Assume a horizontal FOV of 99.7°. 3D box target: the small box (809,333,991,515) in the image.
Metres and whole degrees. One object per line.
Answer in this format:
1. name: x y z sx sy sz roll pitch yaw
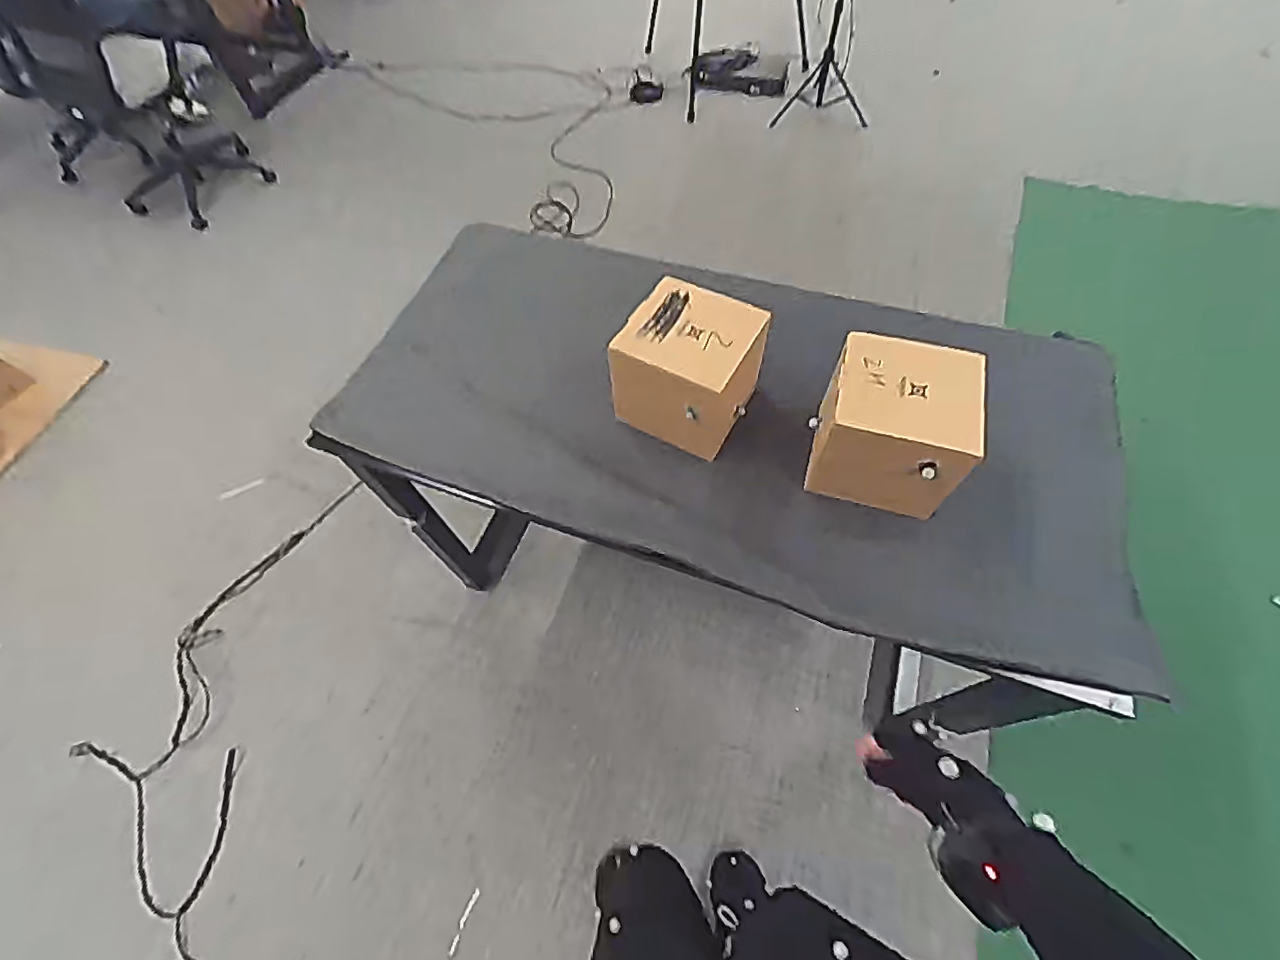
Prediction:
1. small box: 0.350 -0.070 0.748 0.179 0.176 0.168 15 61 12
